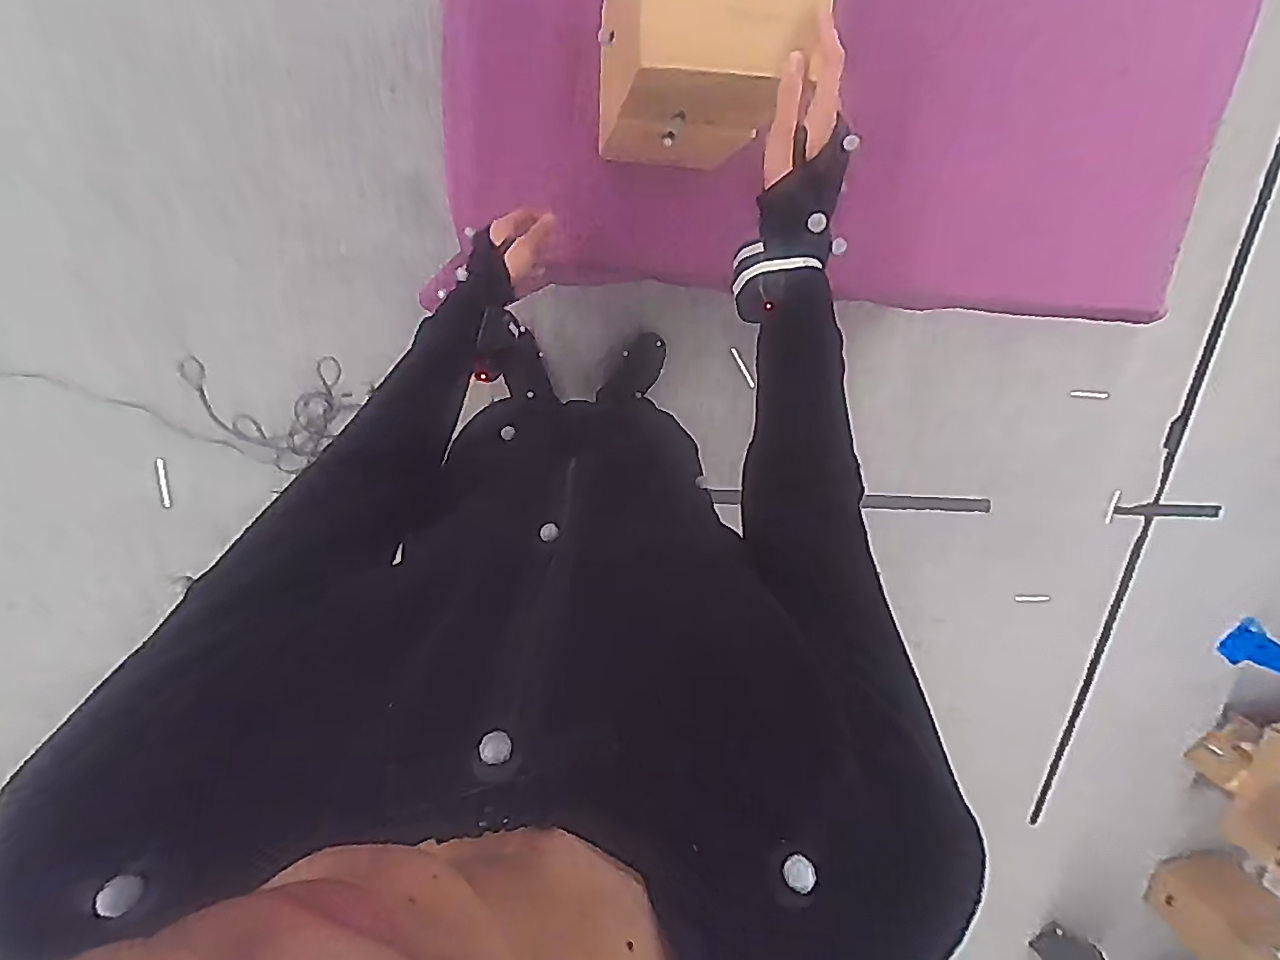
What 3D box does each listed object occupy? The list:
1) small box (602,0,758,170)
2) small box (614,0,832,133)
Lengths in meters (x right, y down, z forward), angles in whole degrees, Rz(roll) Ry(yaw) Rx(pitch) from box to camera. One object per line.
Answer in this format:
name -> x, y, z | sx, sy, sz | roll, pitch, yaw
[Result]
small box -> 0.044, -0.502, 0.659 | 0.168, 0.176, 0.179 | -1, 108, -10
small box -> 0.067, -0.452, 0.504 | 0.168, 0.176, 0.179 | -2, 110, -10
